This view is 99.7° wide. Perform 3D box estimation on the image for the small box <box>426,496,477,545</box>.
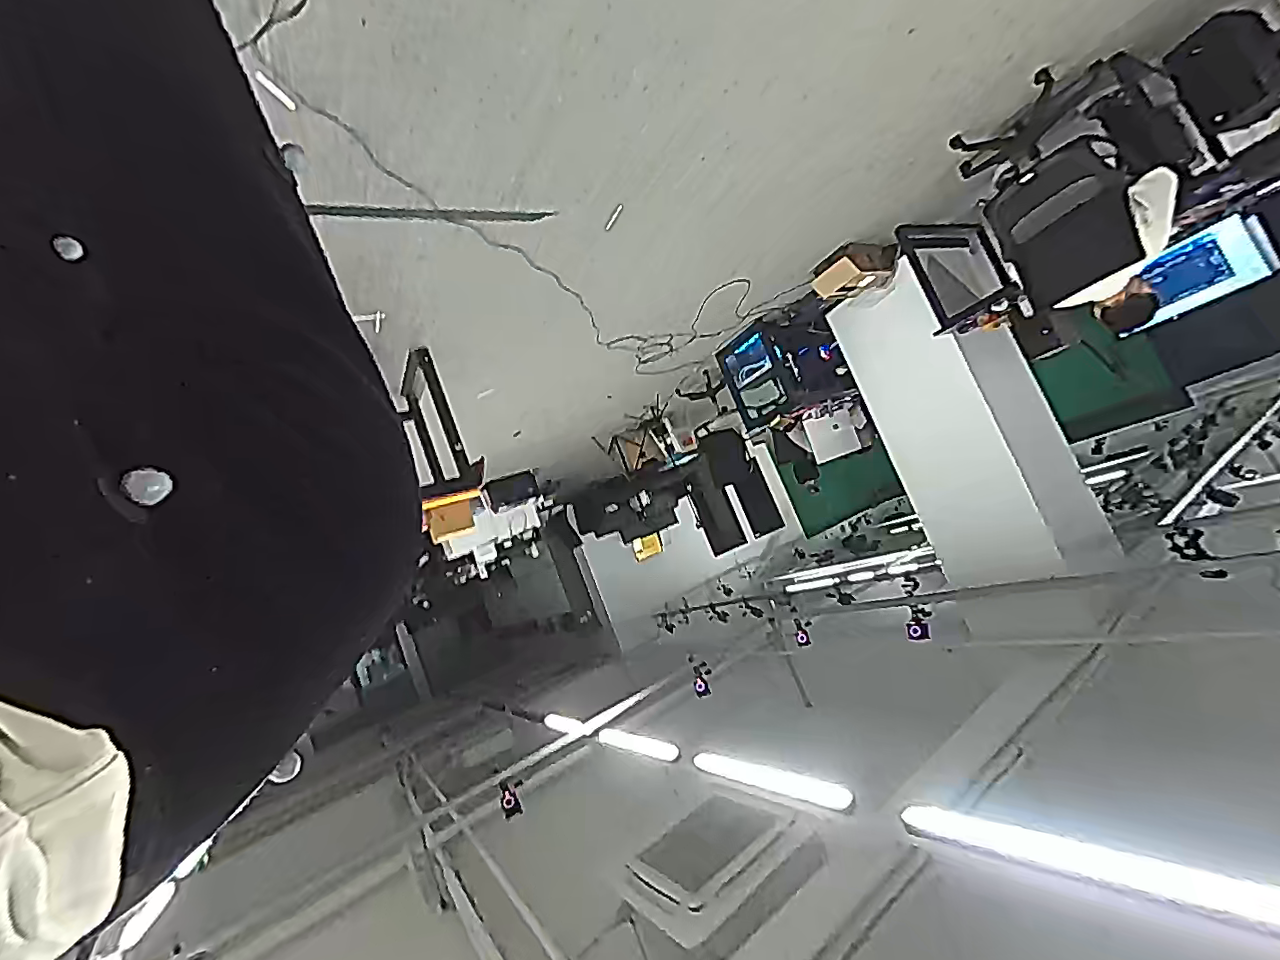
[{"bbox_3d":[-0.901,0.191,2.569,0.179,0.176,0.168,-15,171,-32],"label":"small box"}]
